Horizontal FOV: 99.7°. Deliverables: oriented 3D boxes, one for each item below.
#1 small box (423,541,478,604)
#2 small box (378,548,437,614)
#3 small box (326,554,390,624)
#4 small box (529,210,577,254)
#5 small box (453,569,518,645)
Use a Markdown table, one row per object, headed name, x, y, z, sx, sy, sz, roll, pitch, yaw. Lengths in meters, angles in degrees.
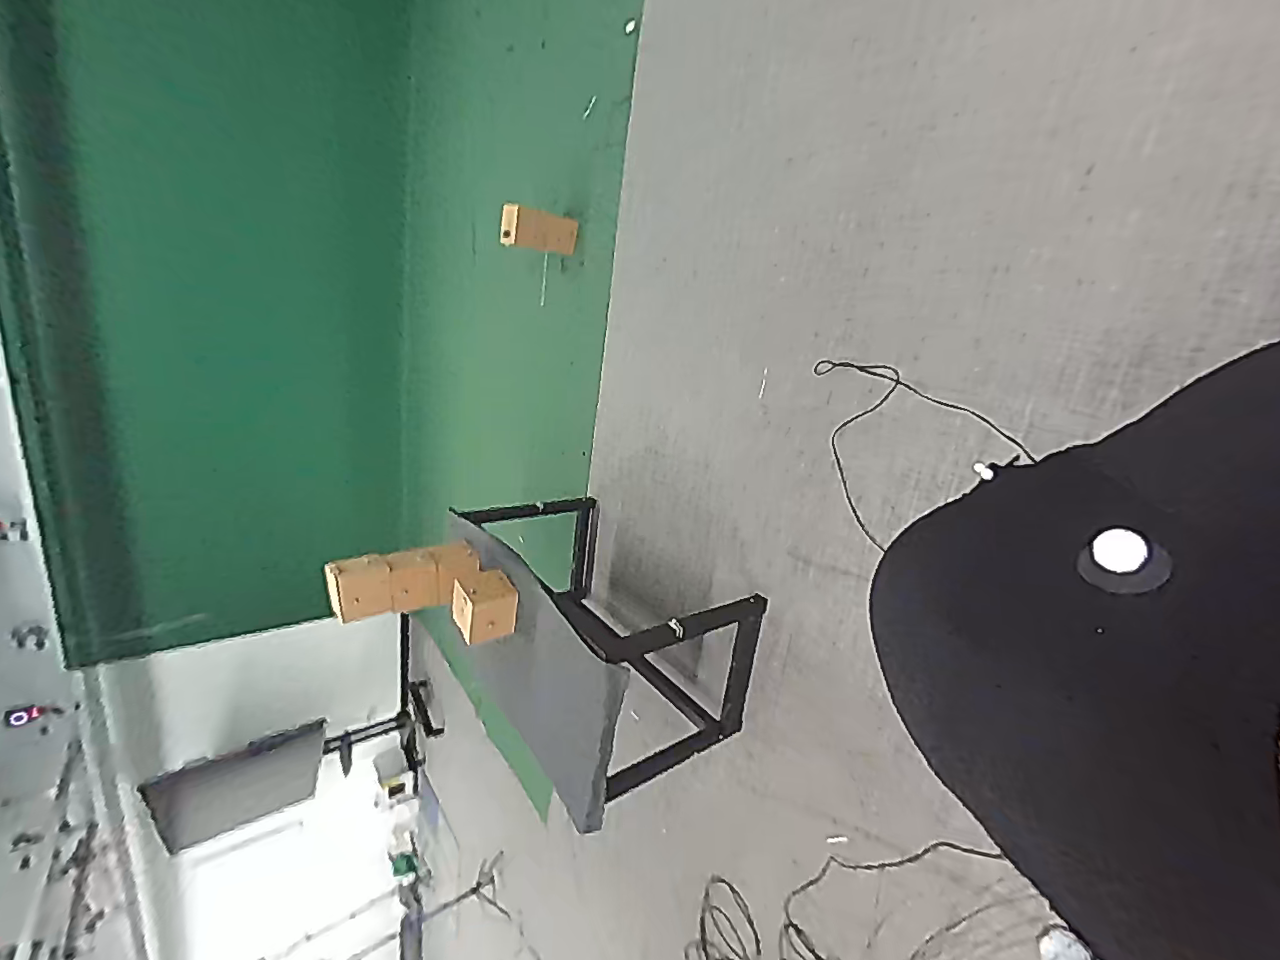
| name | x | y | z | sx | sy | sz | roll | pitch | yaw |
| --- | --- | --- | --- | --- | --- | --- | --- | --- | --- |
| small box | -0.746 | 0.357 | 2.129 | 0.168 | 0.176 | 0.179 | 25 | 117 | 46 |
| small box | -0.871 | 0.371 | 2.027 | 0.168 | 0.176 | 0.179 | 20 | 111 | 47 |
| small box | -0.999 | 0.381 | 1.922 | 0.168 | 0.176 | 0.179 | 15 | 108 | 47 |
| small box | -0.439 | -1.252 | 2.729 | 0.179 | 0.176 | 0.168 | 36 | 121 | 43 |
| small box | -0.540 | 0.436 | 1.886 | 0.168 | 0.176 | 0.179 | 36 | 124 | 43 |
